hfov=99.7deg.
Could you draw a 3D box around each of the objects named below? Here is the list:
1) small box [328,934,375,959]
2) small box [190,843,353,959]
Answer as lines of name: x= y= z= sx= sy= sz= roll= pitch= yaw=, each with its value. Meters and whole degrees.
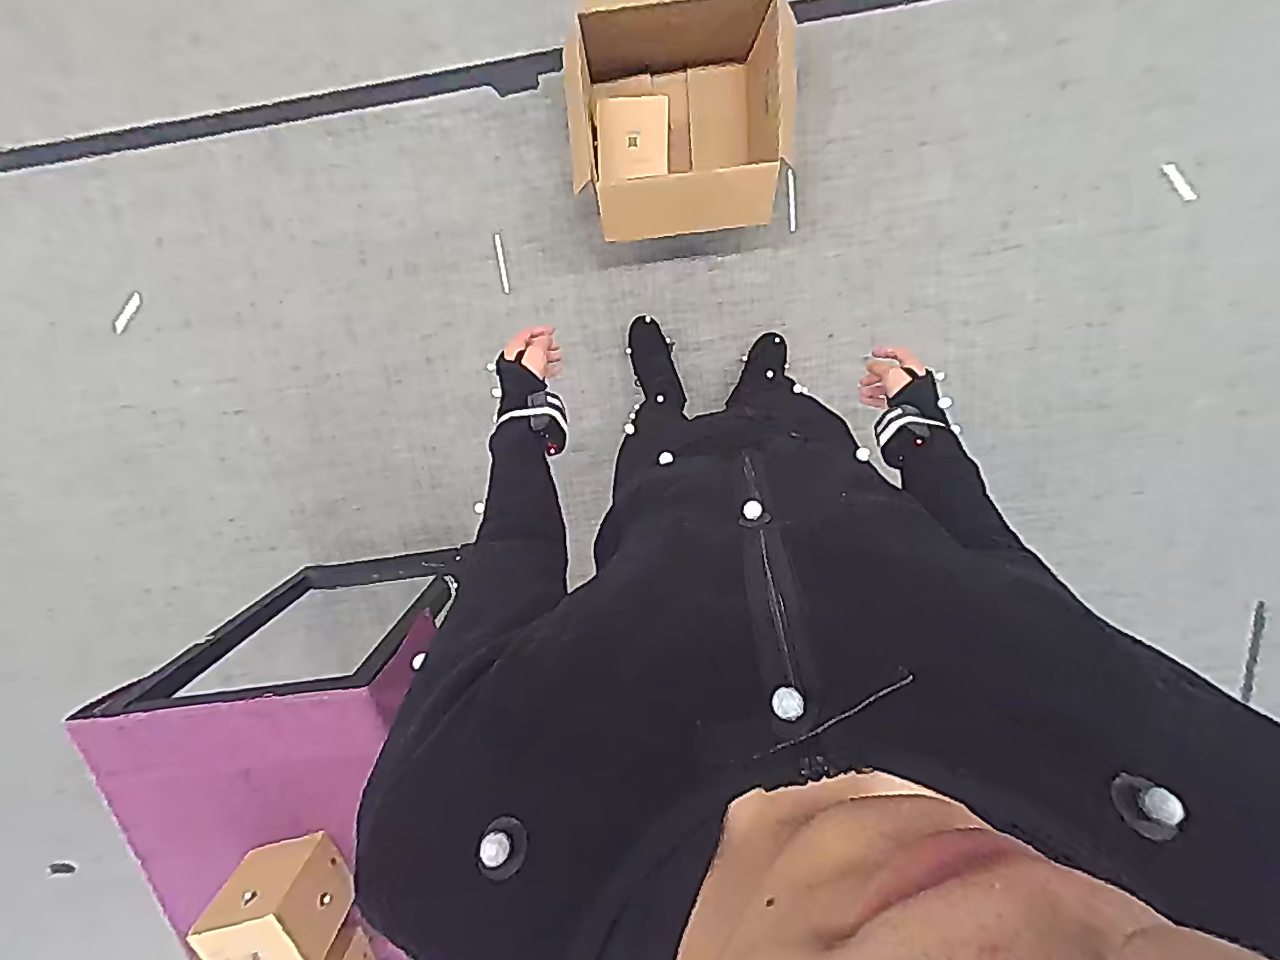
small box: x=-0.667 y=1.090 z=1.113 sx=0.179 sy=0.176 sz=0.168 roll=-12 pitch=105 yaw=3
small box: x=-0.692 y=0.847 z=1.047 sx=0.179 sy=0.176 sz=0.168 roll=-17 pitch=104 yaw=5
